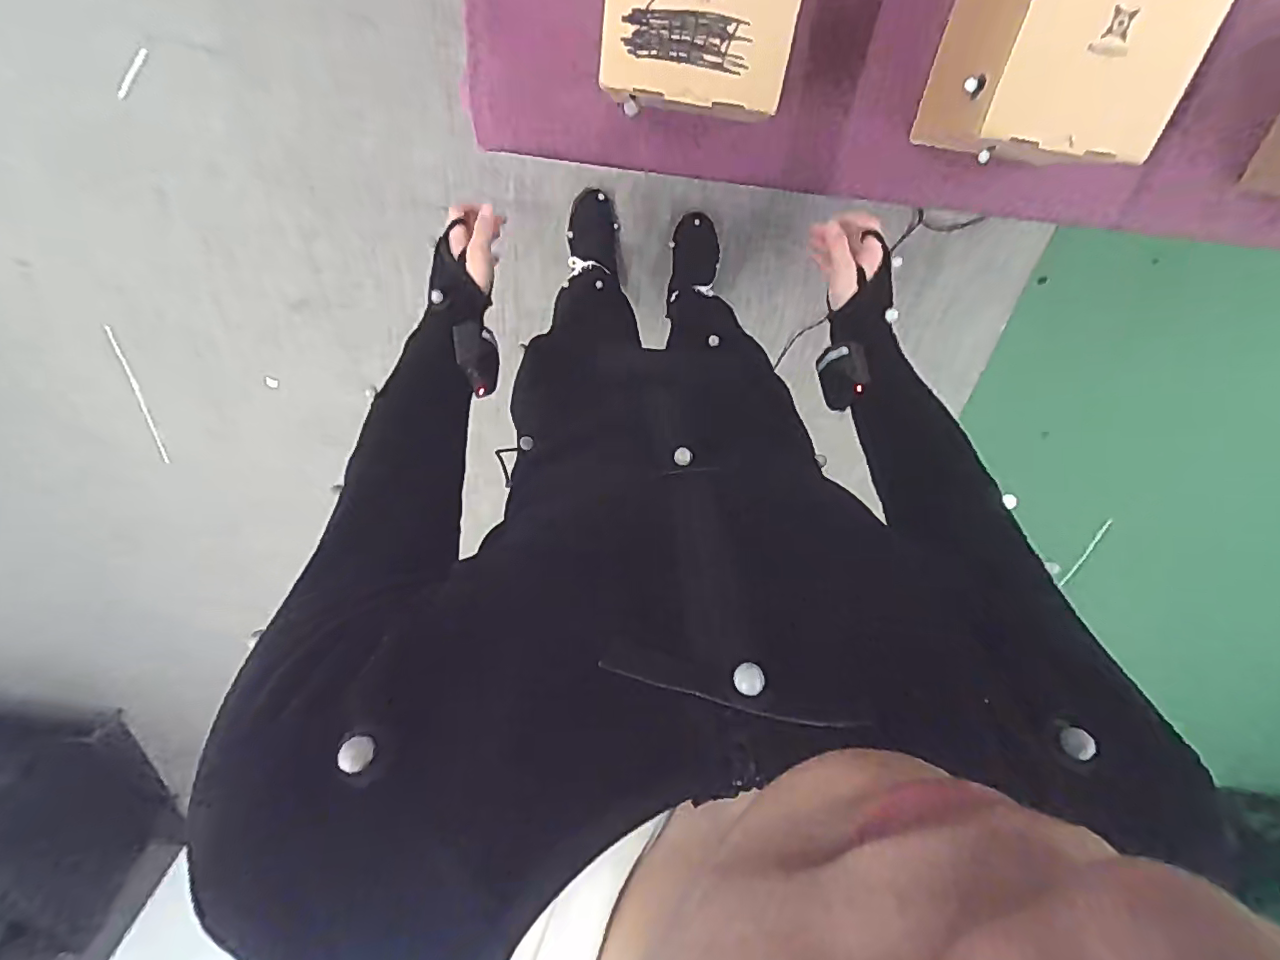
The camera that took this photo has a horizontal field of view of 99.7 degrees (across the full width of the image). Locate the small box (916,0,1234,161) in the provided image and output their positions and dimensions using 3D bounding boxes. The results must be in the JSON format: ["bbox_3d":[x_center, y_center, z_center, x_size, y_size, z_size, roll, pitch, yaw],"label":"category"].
[{"bbox_3d":[0.399,-0.419,0.518,0.168,0.176,0.179,7,122,-2],"label":"small box"}]

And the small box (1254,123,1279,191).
[{"bbox_3d":[0.793,-0.370,0.525,0.168,0.176,0.179,6,123,0],"label":"small box"}]
